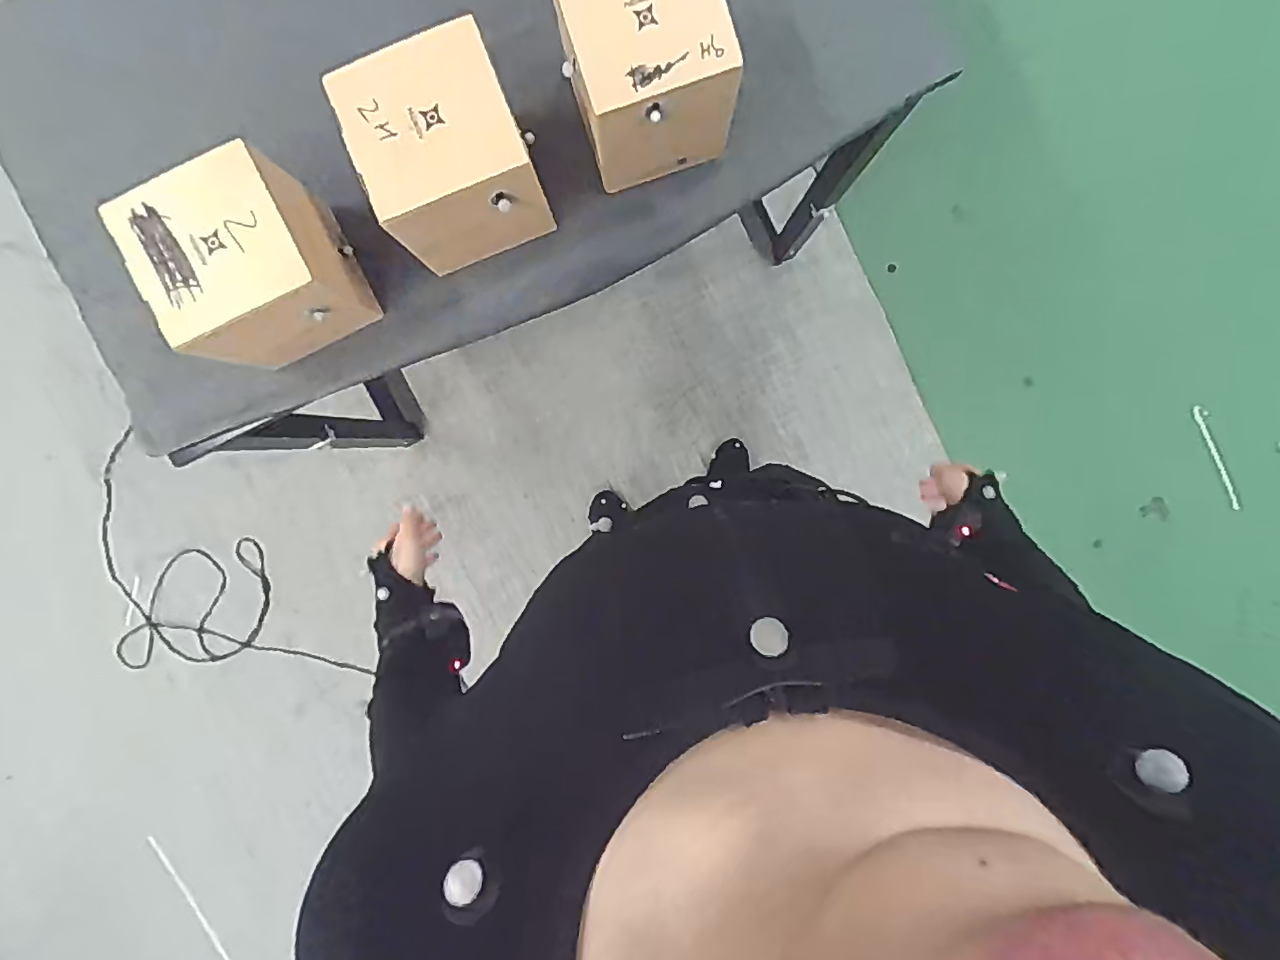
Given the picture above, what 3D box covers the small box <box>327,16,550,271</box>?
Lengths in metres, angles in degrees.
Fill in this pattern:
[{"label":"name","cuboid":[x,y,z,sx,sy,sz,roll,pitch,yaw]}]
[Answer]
[{"label":"small box","cuboid":[-0.219,-0.380,0.645,0.179,0.176,0.168,-21,91,3]}]
